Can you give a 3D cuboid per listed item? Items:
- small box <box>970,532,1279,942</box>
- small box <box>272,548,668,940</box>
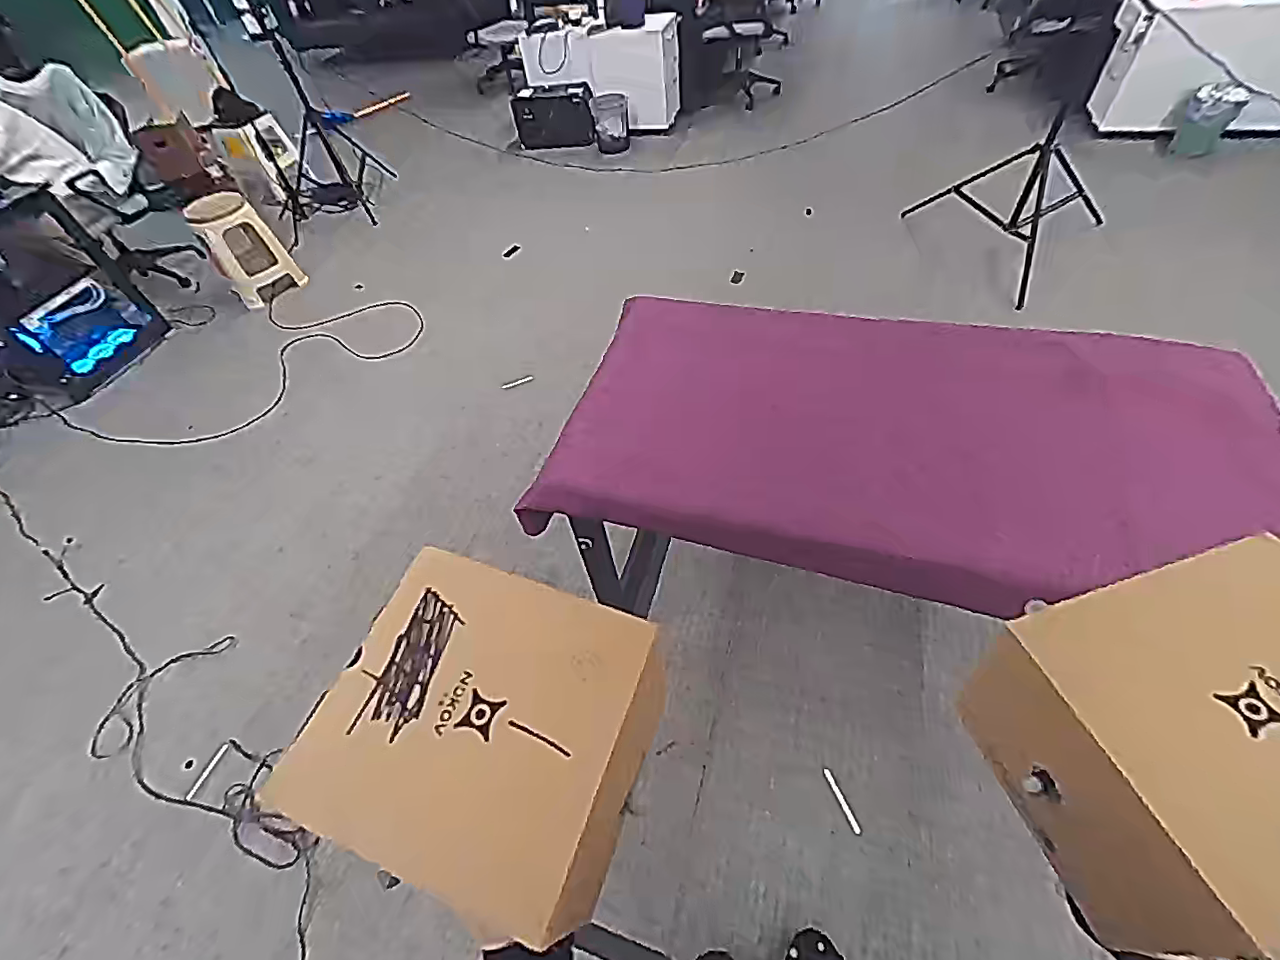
[{"bbox_3d":[0.346,0.167,0.346,0.179,0.176,0.168,-19,49,0],"label":"small box"},{"bbox_3d":[-0.088,0.176,0.377,0.179,0.176,0.168,15,58,14],"label":"small box"}]
